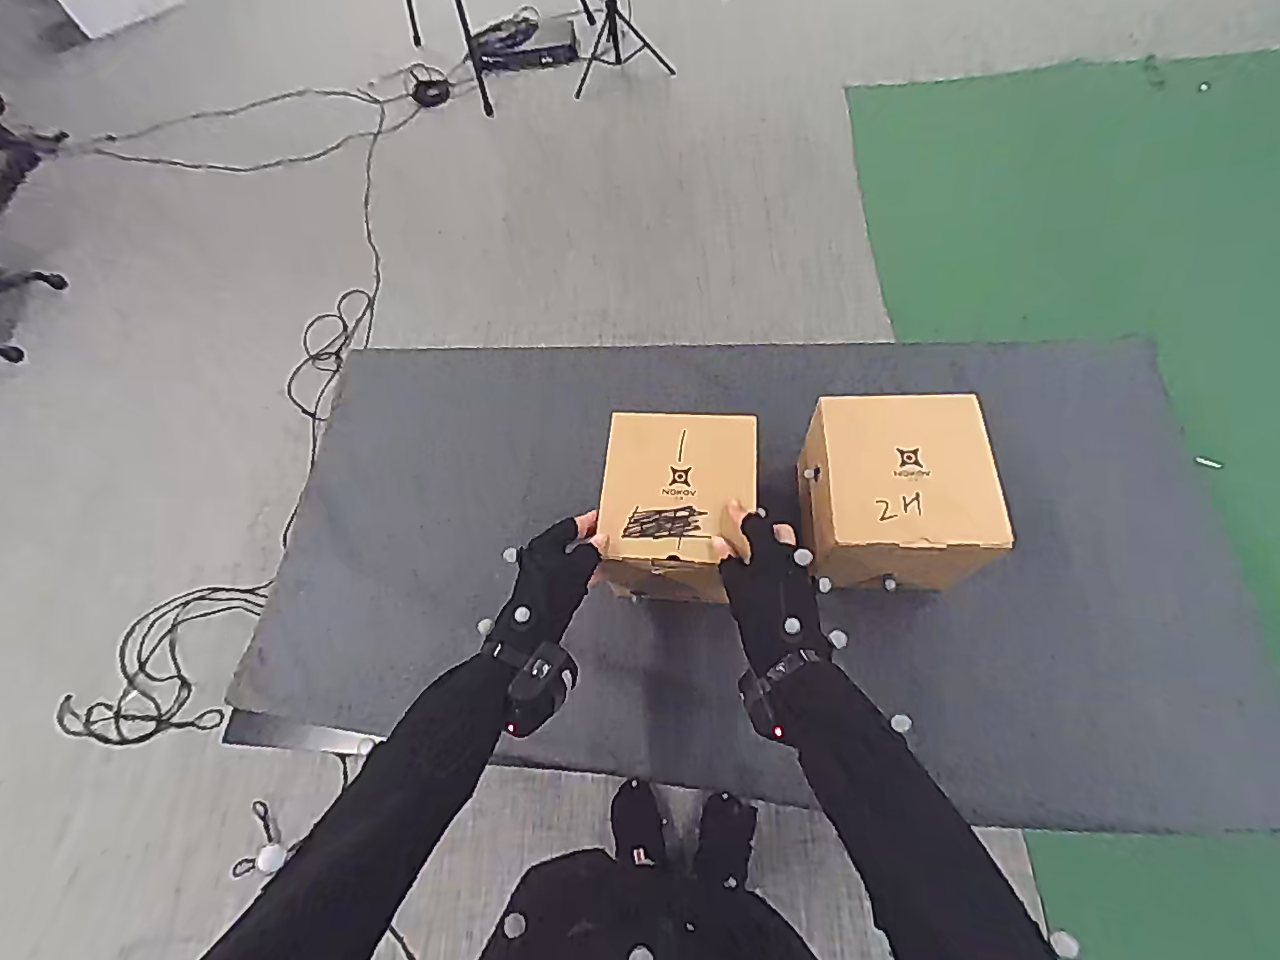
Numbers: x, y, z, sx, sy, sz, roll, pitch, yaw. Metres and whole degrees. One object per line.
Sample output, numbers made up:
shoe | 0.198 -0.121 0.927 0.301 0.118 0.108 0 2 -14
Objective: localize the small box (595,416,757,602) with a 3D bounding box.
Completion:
small box | 0.051 0.041 0.650 0.168 0.176 0.179 2 64 8

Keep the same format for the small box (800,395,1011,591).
small box | 0.286 0.020 0.630 0.168 0.176 0.179 0 65 8
